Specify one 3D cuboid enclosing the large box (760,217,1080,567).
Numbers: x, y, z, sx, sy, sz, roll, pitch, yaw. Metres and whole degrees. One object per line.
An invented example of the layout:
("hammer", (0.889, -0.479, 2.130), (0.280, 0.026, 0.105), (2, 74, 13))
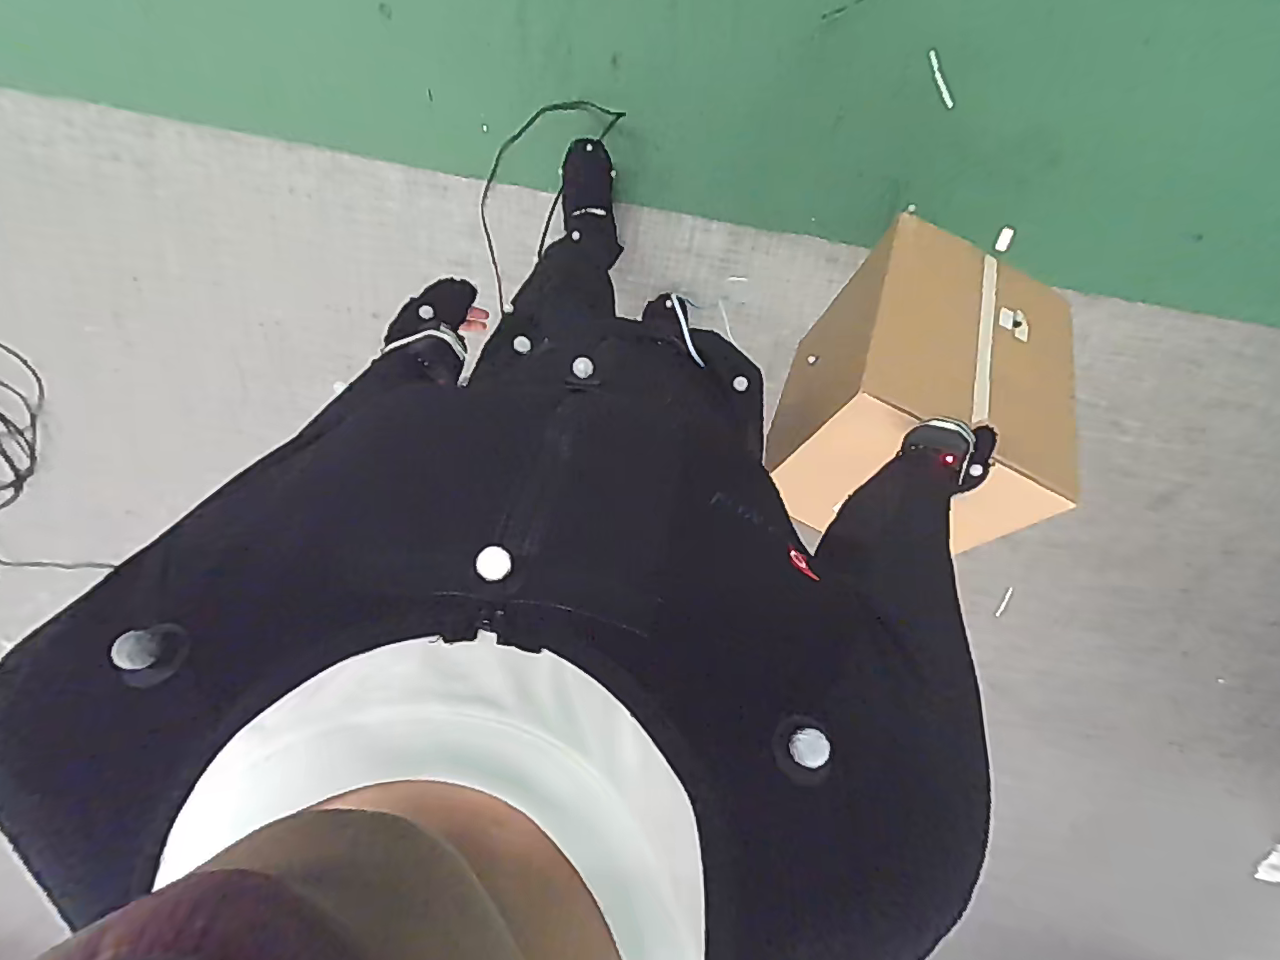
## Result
("large box", (0.438, -0.129, 0.887), (0.320, 0.408, 0.320), (27, 150, -3))
